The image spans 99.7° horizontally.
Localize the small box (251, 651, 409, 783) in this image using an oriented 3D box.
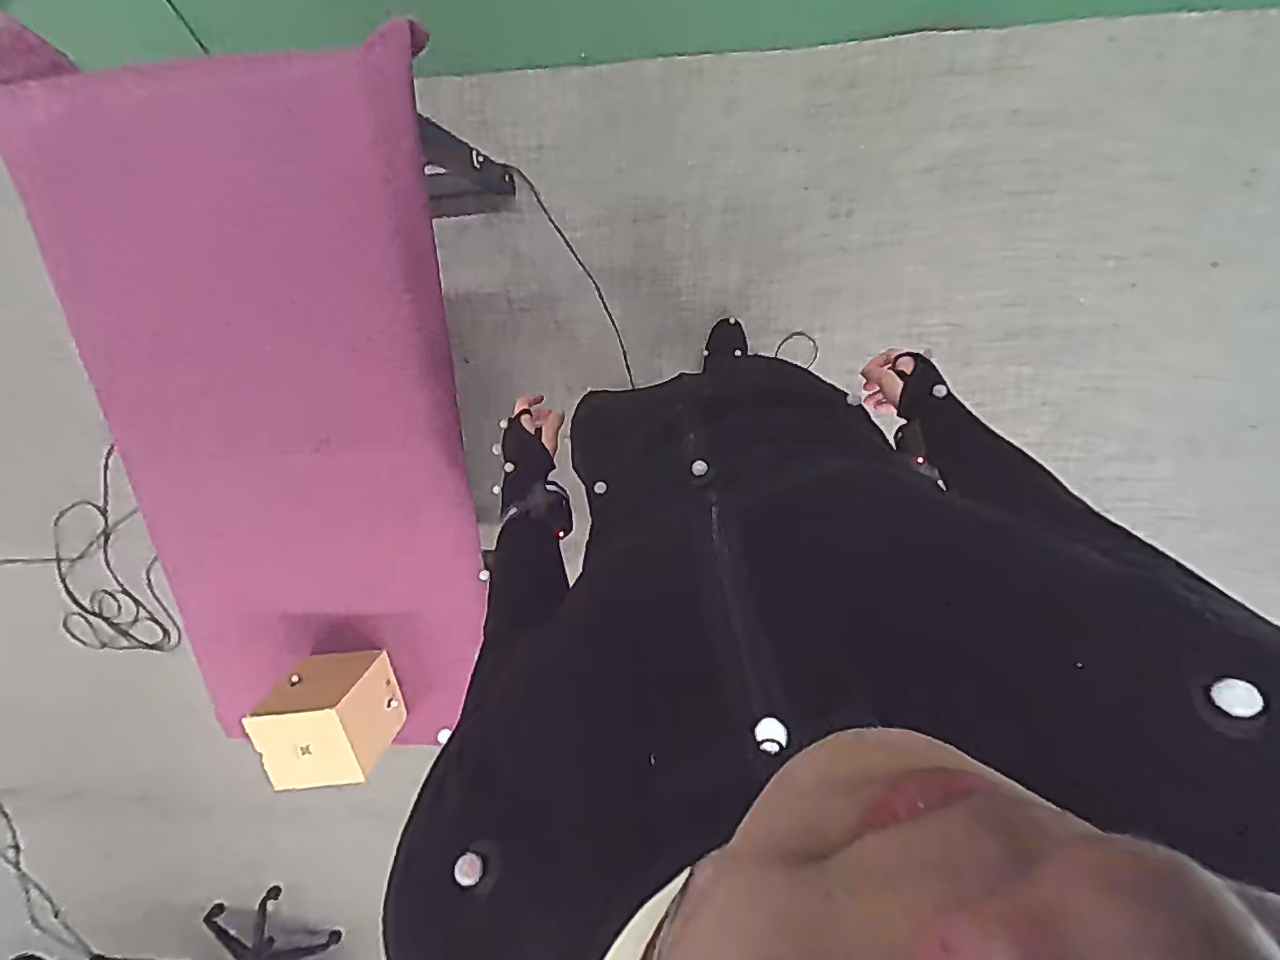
[{"bbox_3d":[-0.581,0.447,1.035,0.179,0.176,0.168,-6,108,9],"label":"small box"}]
